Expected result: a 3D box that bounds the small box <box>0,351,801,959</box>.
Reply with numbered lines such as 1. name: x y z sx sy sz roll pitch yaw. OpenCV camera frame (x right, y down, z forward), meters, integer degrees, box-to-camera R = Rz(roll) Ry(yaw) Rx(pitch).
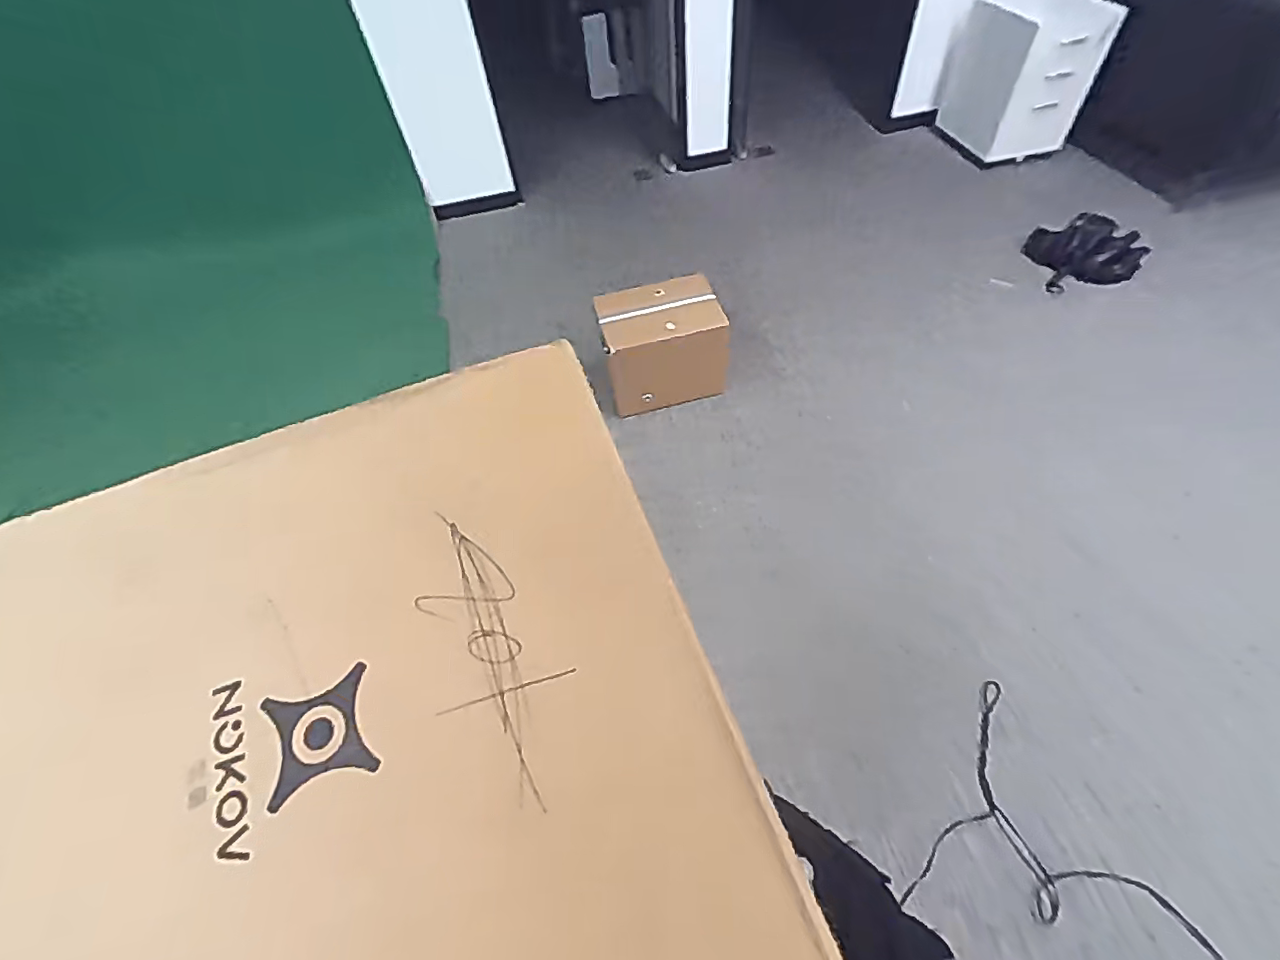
1. small box: -0.072 0.091 0.195 0.179 0.176 0.168 -20 65 -8
